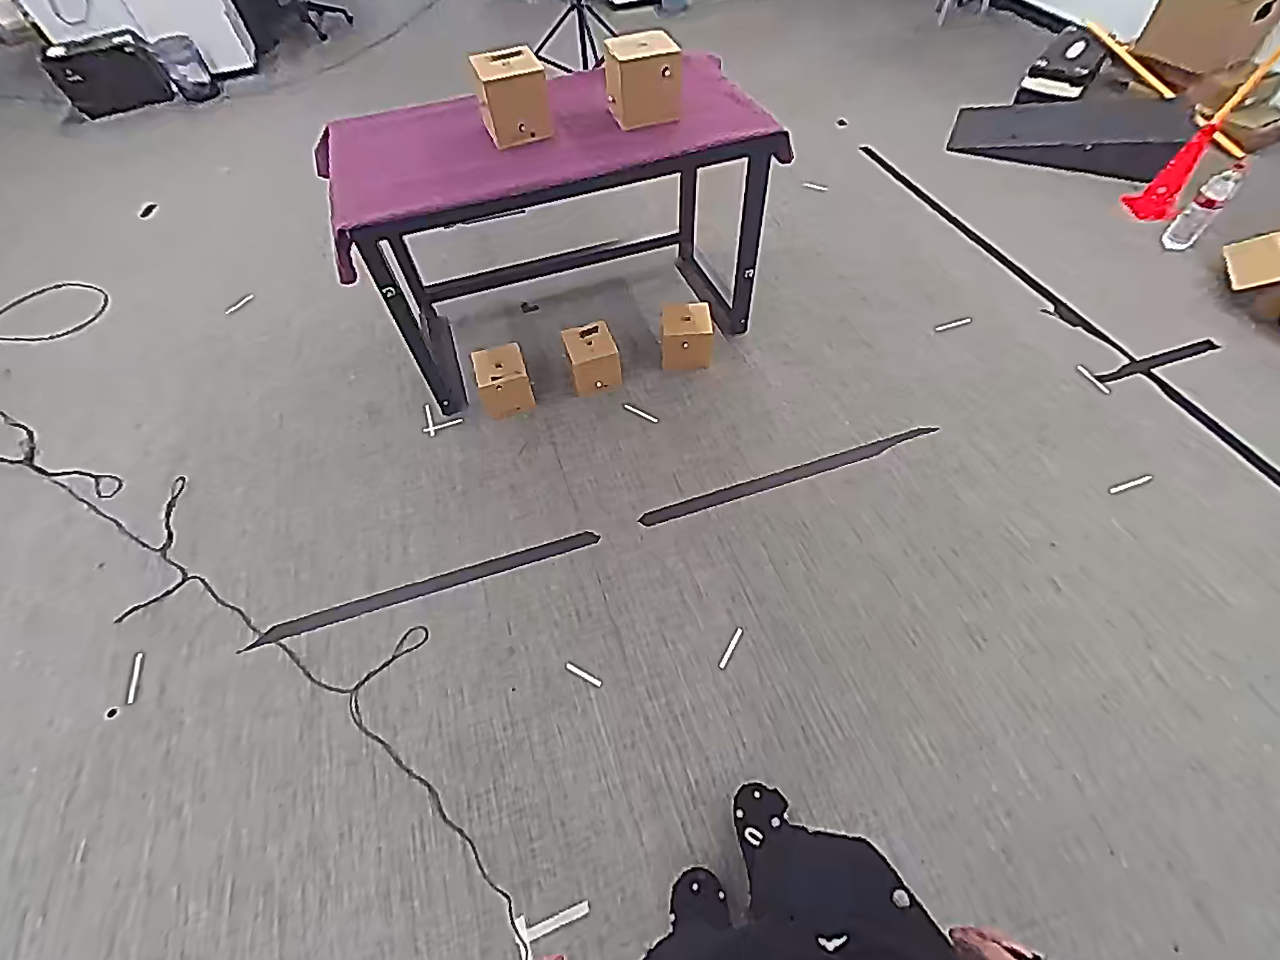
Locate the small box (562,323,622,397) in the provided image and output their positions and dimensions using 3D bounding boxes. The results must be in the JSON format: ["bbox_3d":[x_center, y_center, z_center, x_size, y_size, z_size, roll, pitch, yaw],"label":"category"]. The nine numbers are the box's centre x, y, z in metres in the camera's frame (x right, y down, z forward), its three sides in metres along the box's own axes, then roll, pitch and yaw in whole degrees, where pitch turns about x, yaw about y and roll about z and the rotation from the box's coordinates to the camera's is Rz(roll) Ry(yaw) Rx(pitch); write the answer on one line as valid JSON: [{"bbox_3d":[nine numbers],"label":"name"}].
[{"bbox_3d":[-0.171,-0.430,1.947,0.168,0.176,0.179,-18,58,-8],"label":"small box"}]

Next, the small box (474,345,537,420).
[{"bbox_3d":[-0.473,-0.343,1.907,0.168,0.176,0.179,-16,56,-8],"label":"small box"}]

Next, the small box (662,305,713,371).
[{"bbox_3d":[0.171,-0.521,1.992,0.179,0.176,0.168,-4,57,2],"label":"small box"}]

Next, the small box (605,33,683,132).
[{"bbox_3d":[0.011,-1.110,1.514,0.179,0.176,0.168,-16,56,-7],"label":"small box"}]
